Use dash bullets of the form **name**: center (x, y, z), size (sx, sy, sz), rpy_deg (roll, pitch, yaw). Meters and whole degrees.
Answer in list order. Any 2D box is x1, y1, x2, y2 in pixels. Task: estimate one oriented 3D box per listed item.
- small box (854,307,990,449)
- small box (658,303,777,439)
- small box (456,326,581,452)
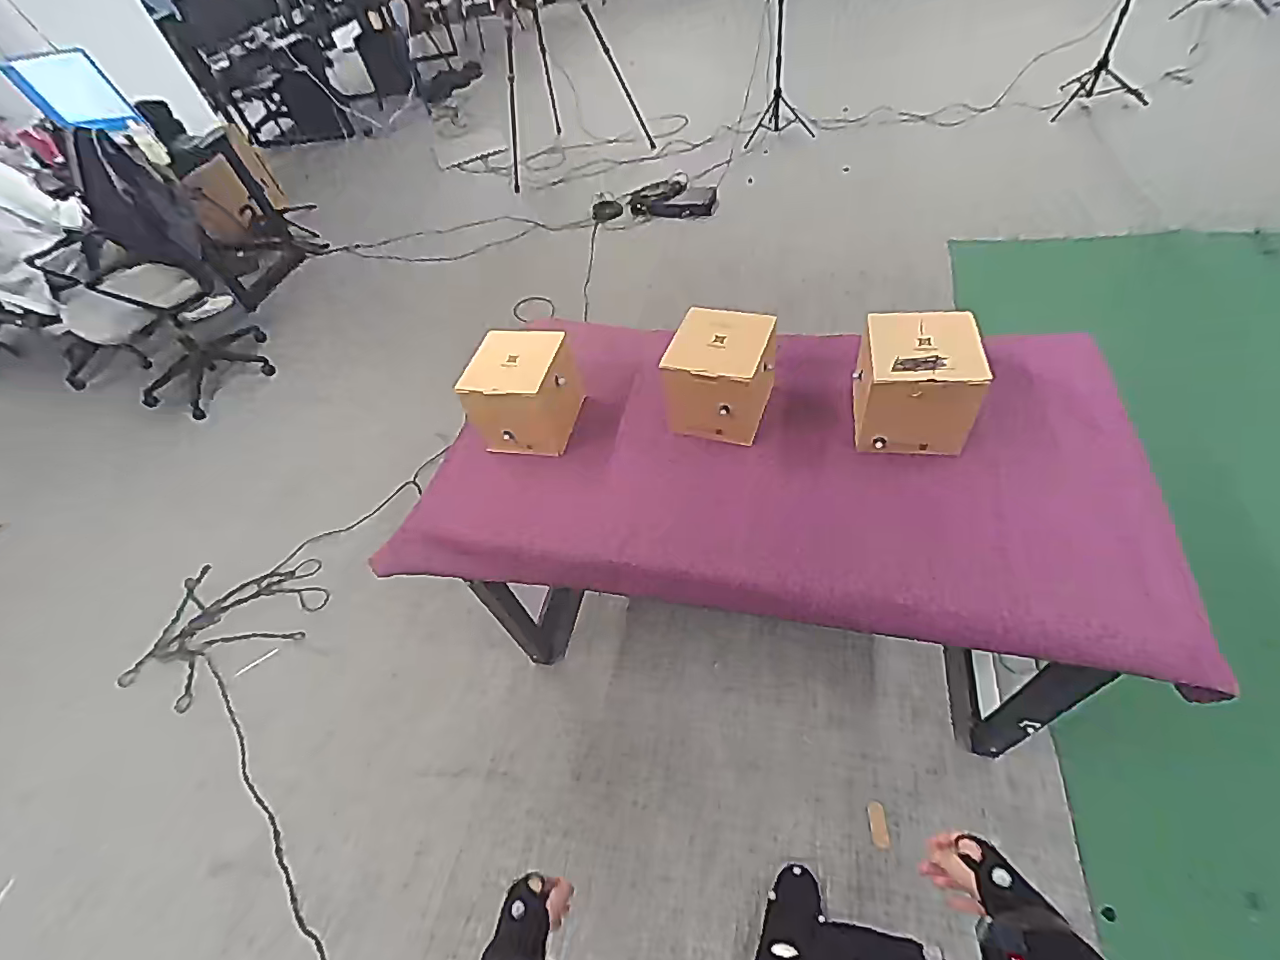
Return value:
- **small box**: center (0.462, -0.169, 0.914), size (0.168, 0.176, 0.179), rpy_deg (4, 52, 14)
- **small box**: center (0.150, -0.199, 1.002), size (0.168, 0.176, 0.179), rpy_deg (14, 56, 20)
- **small box**: center (-0.225, -0.179, 1.060), size (0.168, 0.176, 0.179), rpy_deg (5, 54, 15)
